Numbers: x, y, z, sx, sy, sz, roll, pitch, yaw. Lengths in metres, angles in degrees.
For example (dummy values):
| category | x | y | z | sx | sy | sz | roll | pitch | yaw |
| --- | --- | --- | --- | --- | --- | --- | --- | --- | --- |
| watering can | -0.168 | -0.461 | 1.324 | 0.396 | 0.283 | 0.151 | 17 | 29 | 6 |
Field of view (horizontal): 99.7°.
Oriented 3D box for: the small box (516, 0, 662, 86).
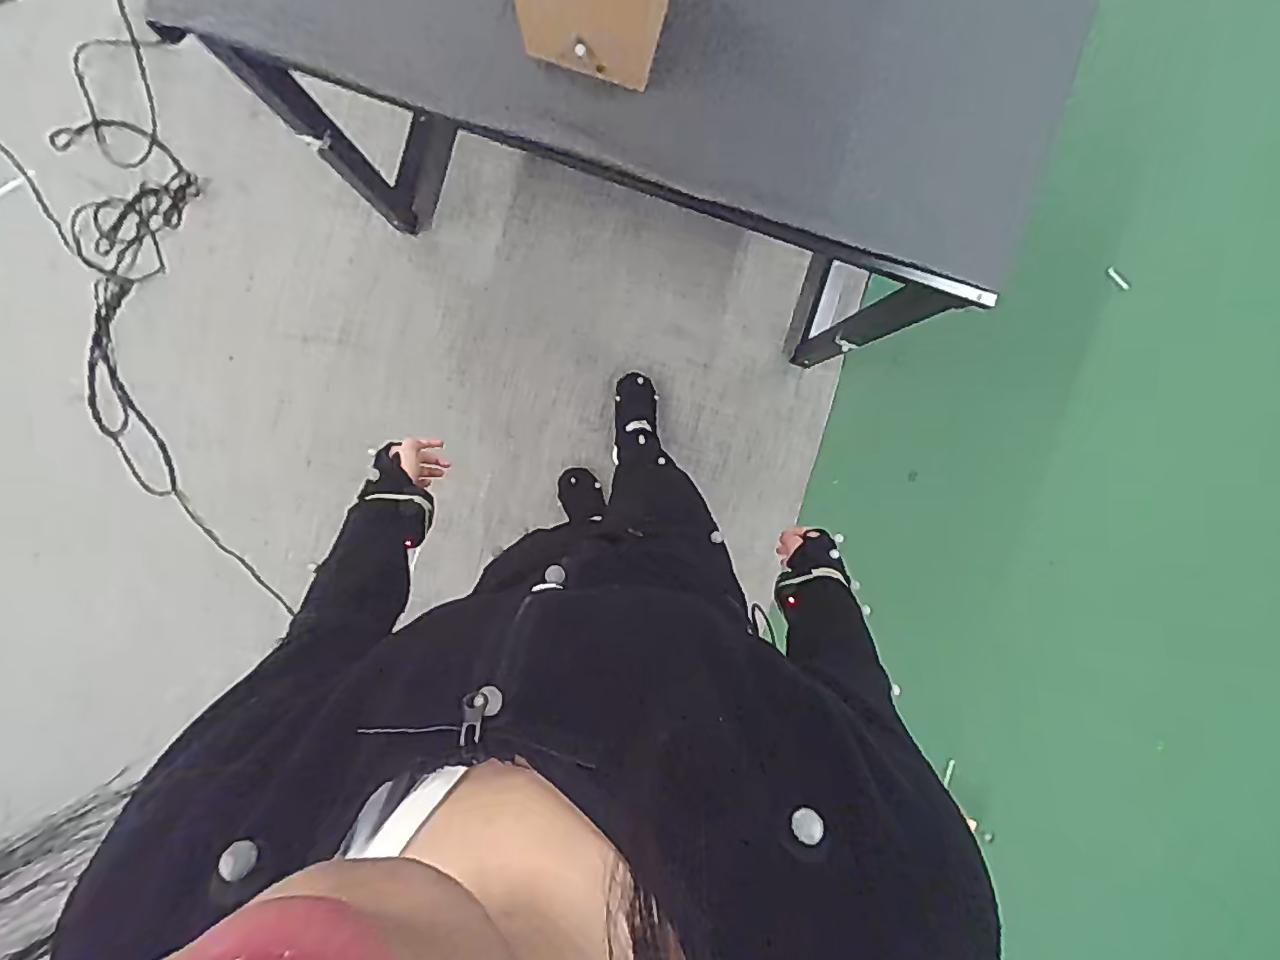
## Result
| category | x | y | z | sx | sy | sz | roll | pitch | yaw |
| --- | --- | --- | --- | --- | --- | --- | --- | --- | --- |
| small box | -0.054 | -0.629 | 0.643 | 0.168 | 0.176 | 0.179 | 15 | 93 | -3 |
